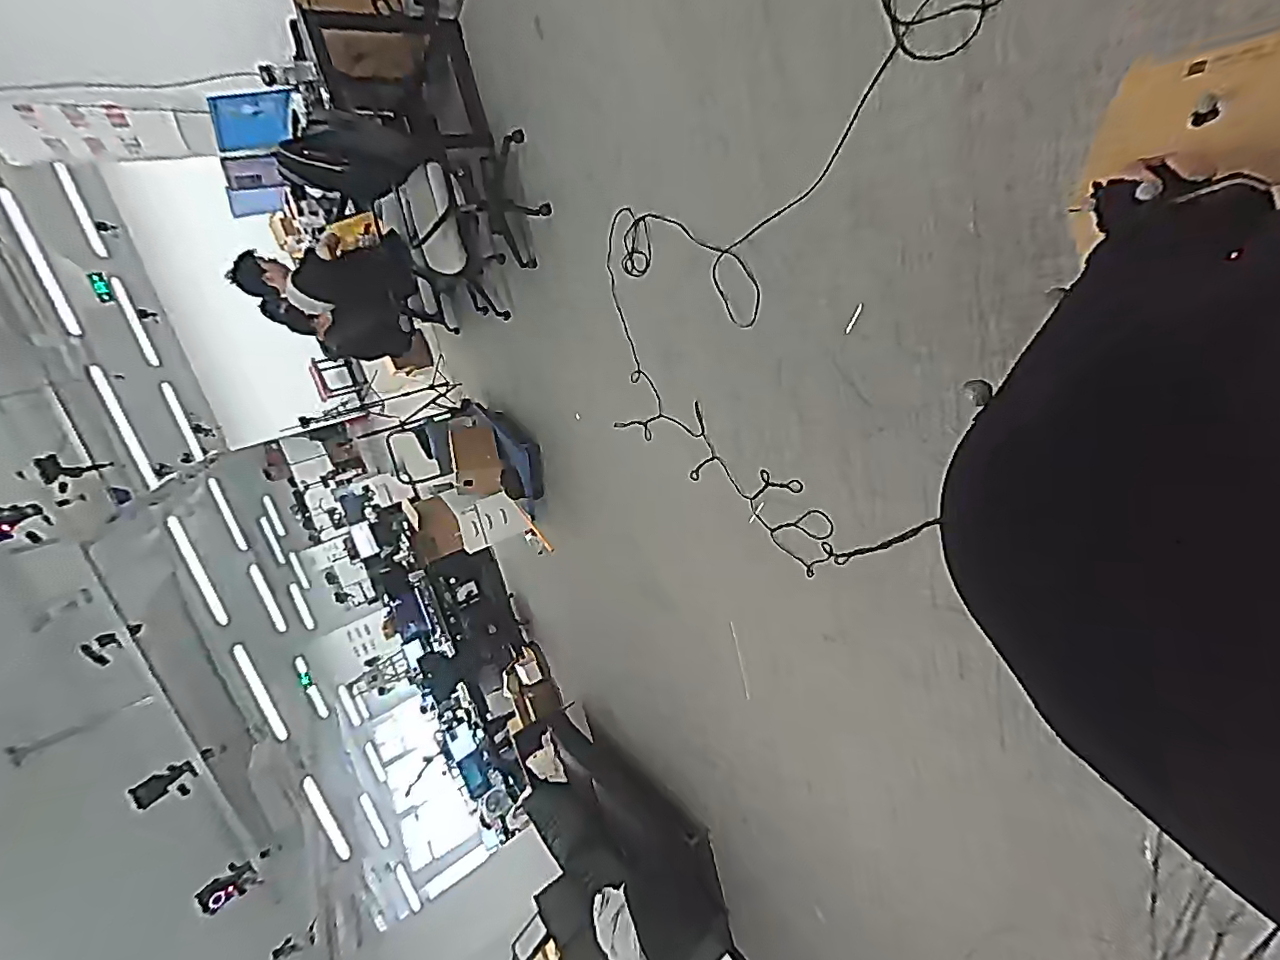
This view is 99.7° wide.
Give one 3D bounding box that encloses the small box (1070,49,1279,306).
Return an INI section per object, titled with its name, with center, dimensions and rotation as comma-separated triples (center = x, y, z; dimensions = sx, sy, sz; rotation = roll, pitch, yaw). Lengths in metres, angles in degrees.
[small box]
center = 0.593, -0.310, 0.573
dimensions = 0.168, 0.179, 0.176
rotation = 19, 84, 50
